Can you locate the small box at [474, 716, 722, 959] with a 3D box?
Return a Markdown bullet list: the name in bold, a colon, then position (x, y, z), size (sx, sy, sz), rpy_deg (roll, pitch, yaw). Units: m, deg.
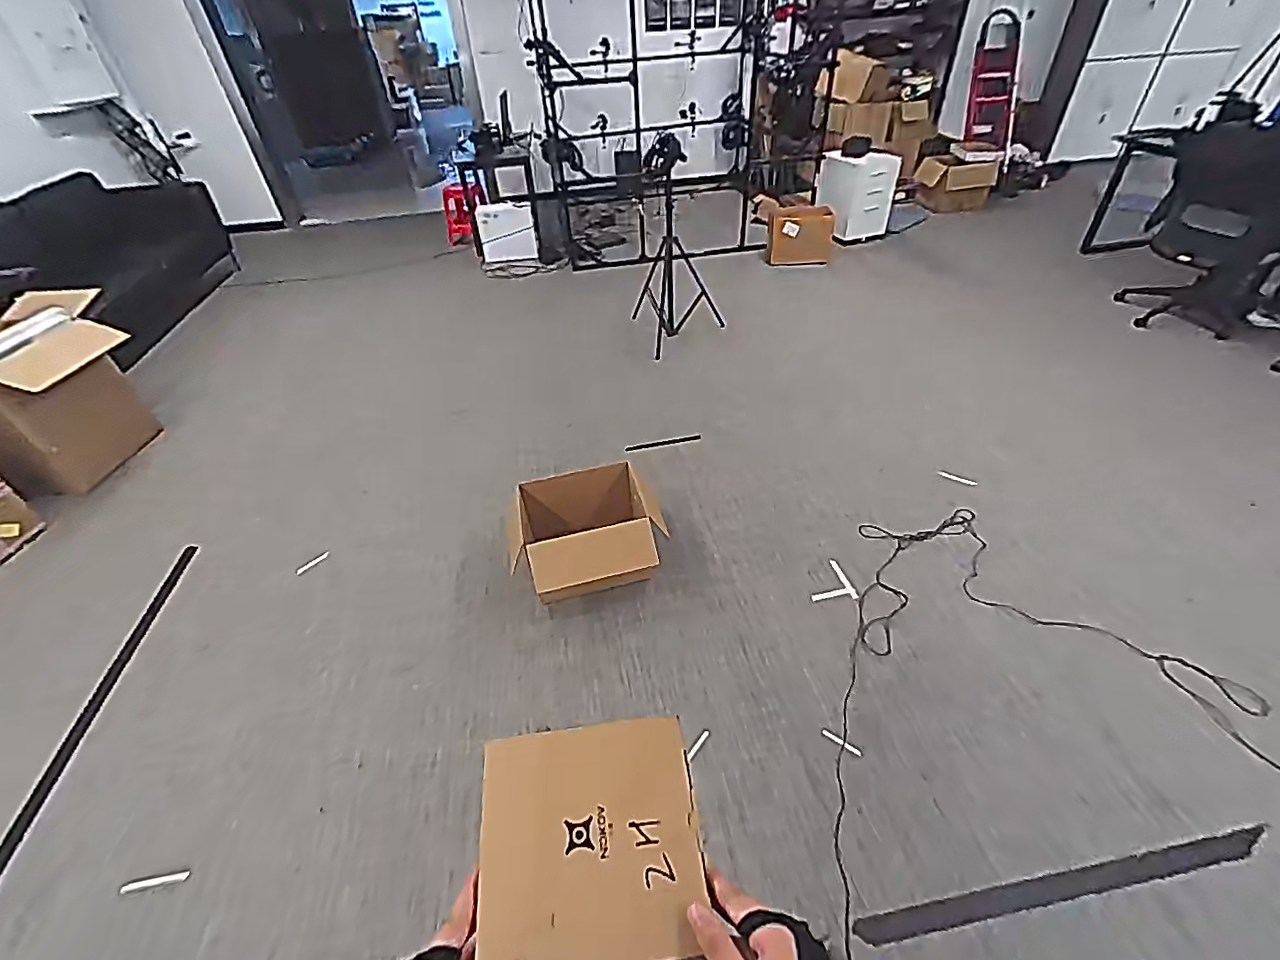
- **small box**: position (-0.035, 0.329, 0.481), size (0.179, 0.176, 0.168), rpy_deg (-6, 51, -4)
